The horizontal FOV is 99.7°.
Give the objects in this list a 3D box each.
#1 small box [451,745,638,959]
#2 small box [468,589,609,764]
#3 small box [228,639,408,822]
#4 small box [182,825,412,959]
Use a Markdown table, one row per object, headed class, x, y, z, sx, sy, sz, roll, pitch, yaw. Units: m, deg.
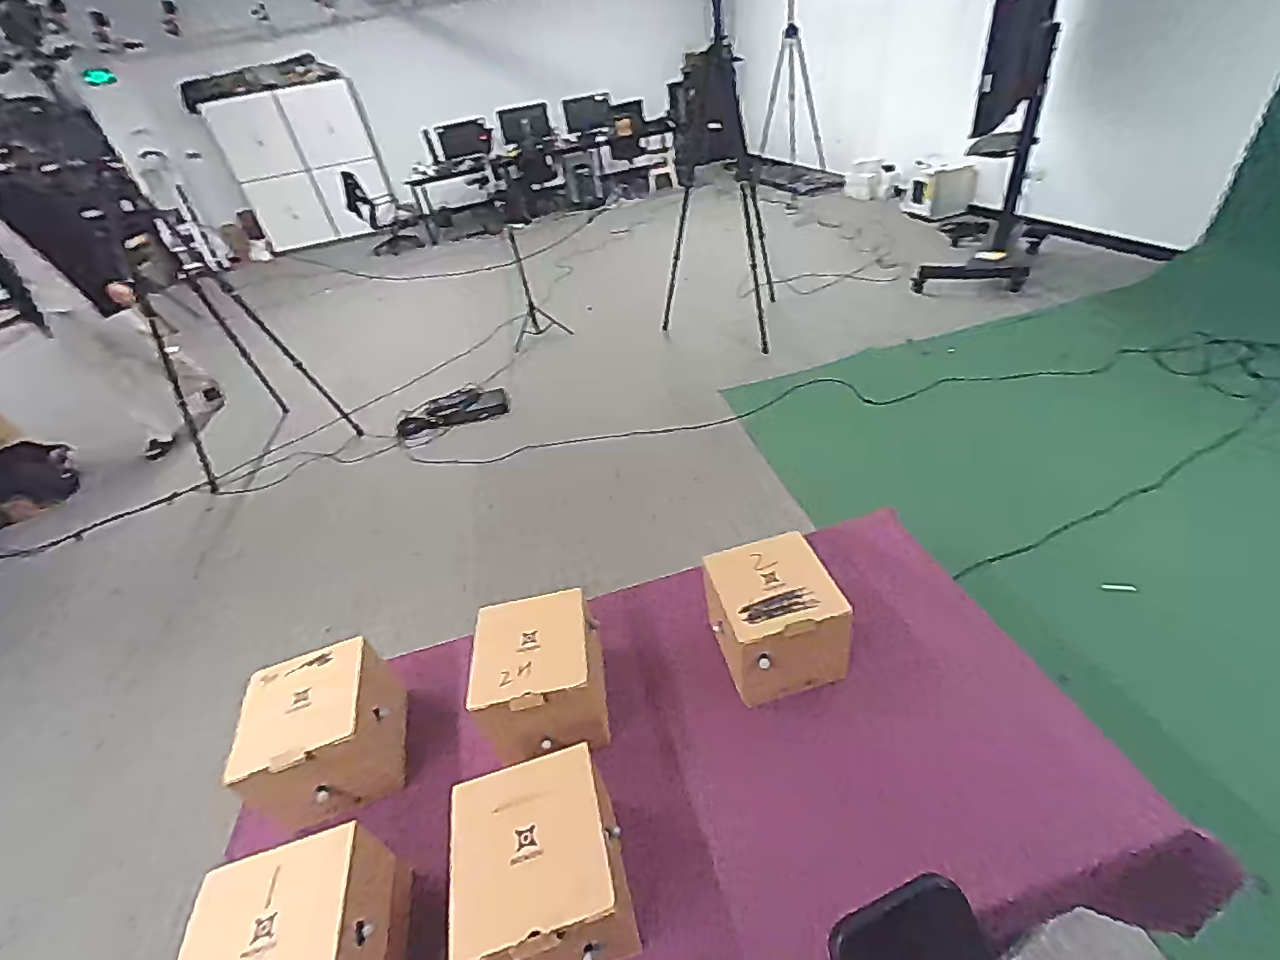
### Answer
| class | x | y | z | sx | sy | sz | roll | pitch | yaw |
| --- | --- | --- | --- | --- | --- | --- | --- | --- | --- |
| small box | -0.108 | 0.454 | 0.630 | 0.168 | 0.176 | 0.179 | -16 | 37 | -6 |
| small box | -0.148 | 0.301 | 0.833 | 0.168 | 0.176 | 0.179 | -12 | 38 | 0 |
| small box | -0.464 | 0.381 | 0.814 | 0.168 | 0.176 | 0.179 | -18 | 39 | -10 |
| small box | -0.369 | 0.531 | 0.598 | 0.168 | 0.176 | 0.179 | -16 | 36 | -7 |
